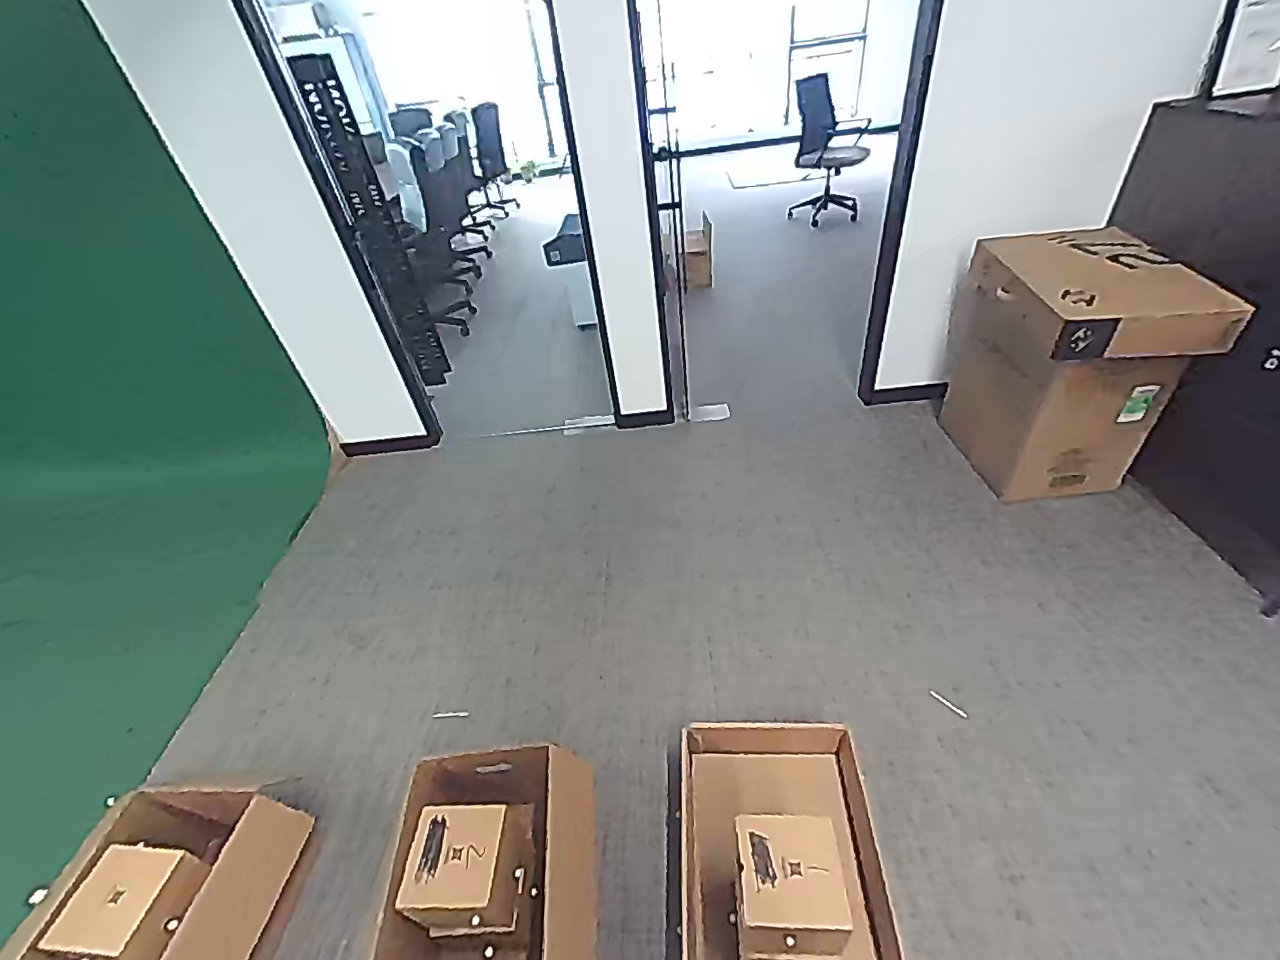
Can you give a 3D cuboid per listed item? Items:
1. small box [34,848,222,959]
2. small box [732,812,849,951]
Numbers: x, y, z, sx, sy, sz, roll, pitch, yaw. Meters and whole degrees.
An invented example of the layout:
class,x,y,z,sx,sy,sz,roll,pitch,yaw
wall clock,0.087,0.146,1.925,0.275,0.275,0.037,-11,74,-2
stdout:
class,x,y,z,sx,sy,sz,roll,pitch,yaw
small box,-0.998,0.860,1.077,0.179,0.176,0.168,-1,39,7
small box,0.261,0.726,0.979,0.179,0.176,0.168,-2,38,5
